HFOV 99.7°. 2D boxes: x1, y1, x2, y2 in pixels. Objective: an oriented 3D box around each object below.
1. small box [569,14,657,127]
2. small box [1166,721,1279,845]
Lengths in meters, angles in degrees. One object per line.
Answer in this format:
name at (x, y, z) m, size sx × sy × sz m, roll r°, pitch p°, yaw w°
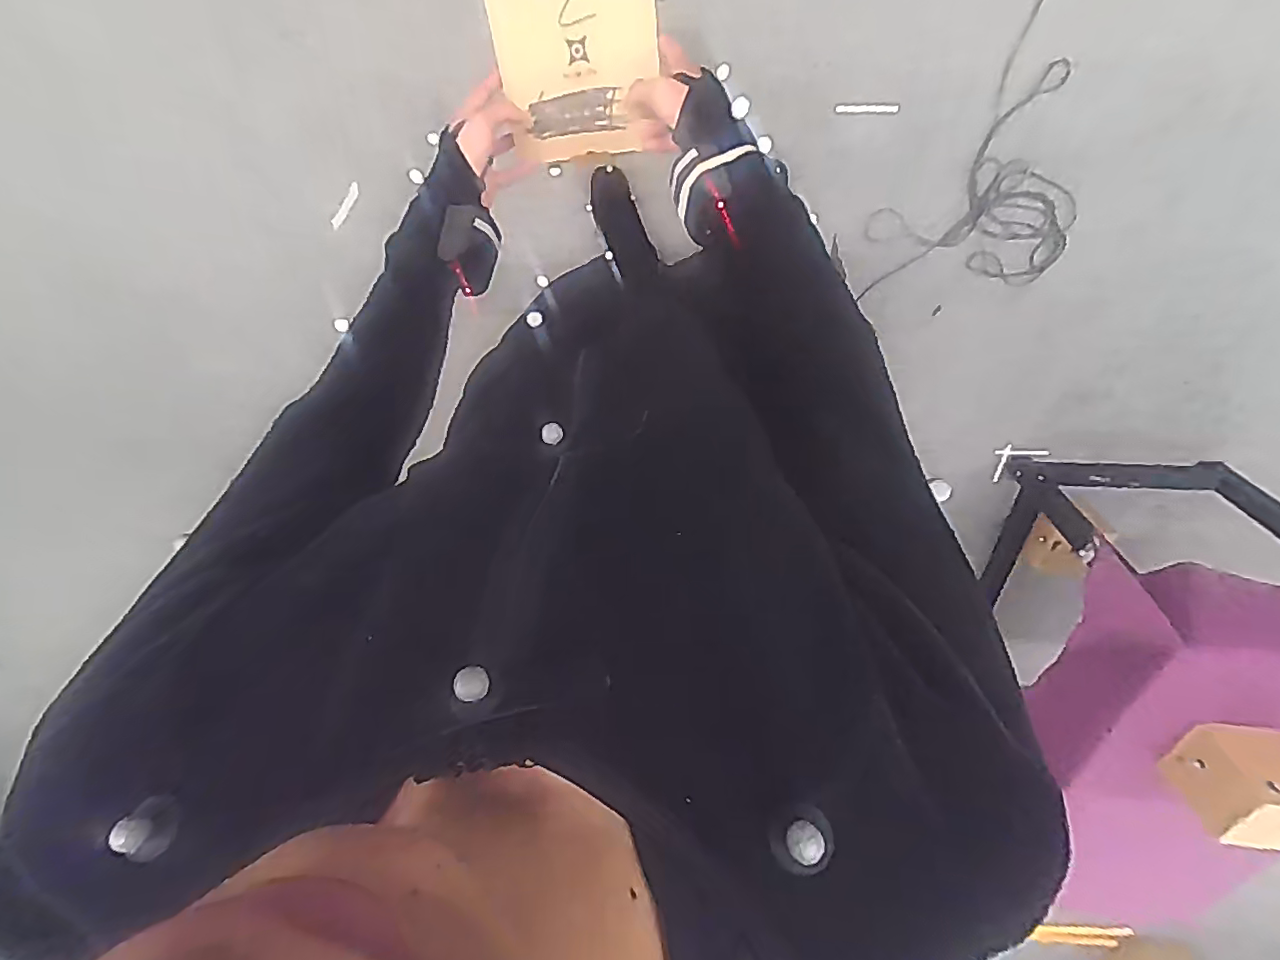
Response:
small box at (-0.055, -0.868, 1.158) m, size 0.168 × 0.176 × 0.179 m, roll 6°, pitch 124°, yaw 4°
small box at (1.268, 0.621, 1.113) m, size 0.179 × 0.176 × 0.168 m, roll 2°, pitch 124°, yaw 6°
